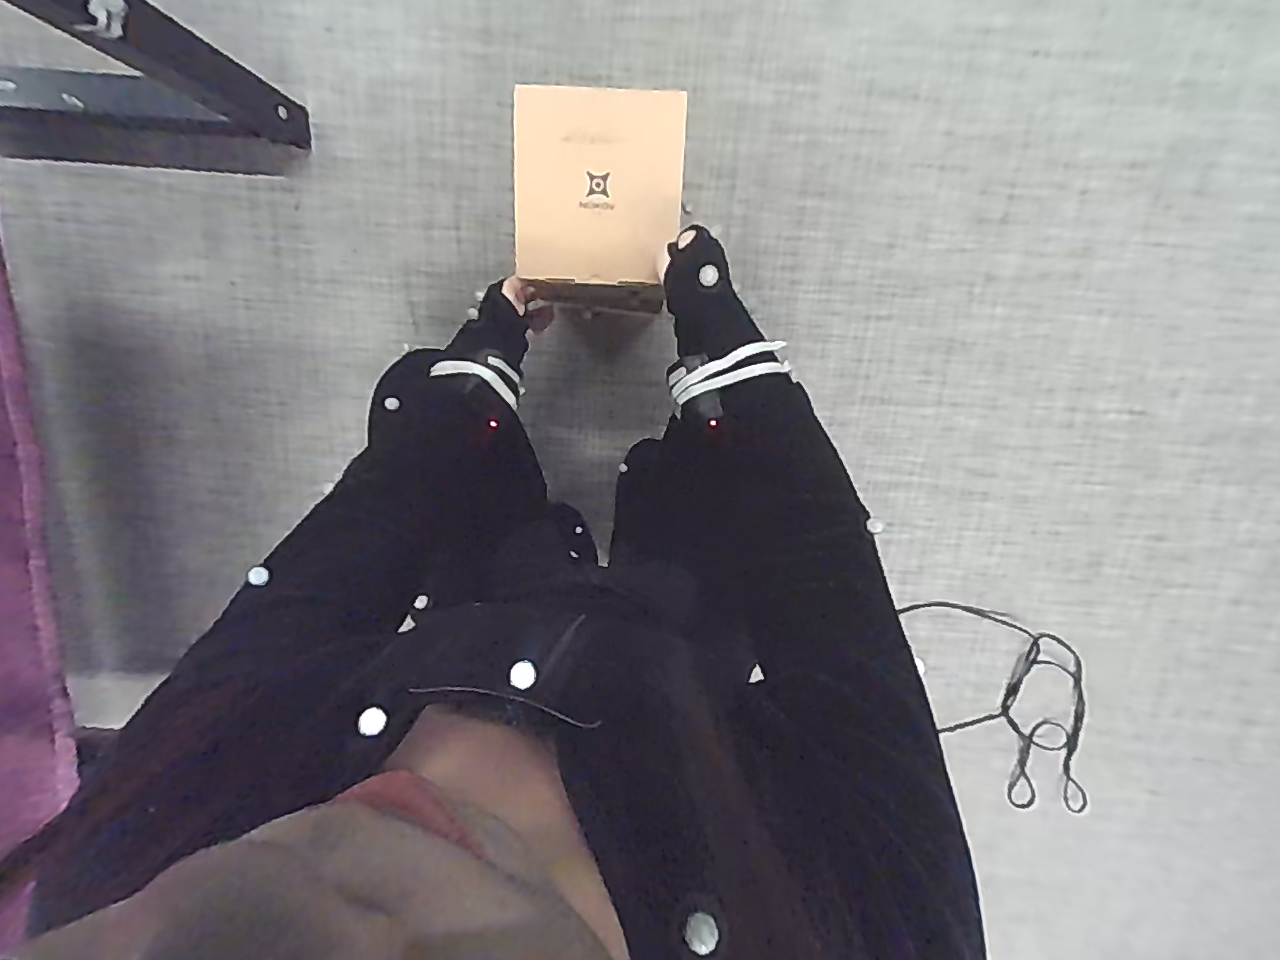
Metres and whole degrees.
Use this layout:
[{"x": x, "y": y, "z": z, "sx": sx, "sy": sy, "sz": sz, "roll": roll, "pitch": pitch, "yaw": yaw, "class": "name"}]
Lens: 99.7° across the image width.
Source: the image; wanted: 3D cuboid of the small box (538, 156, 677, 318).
[{"x": -0.044, "y": -0.331, "z": 0.773, "sx": 0.168, "sy": 0.176, "sz": 0.179, "roll": 6, "pitch": 104, "yaw": -2, "class": "small box"}]
